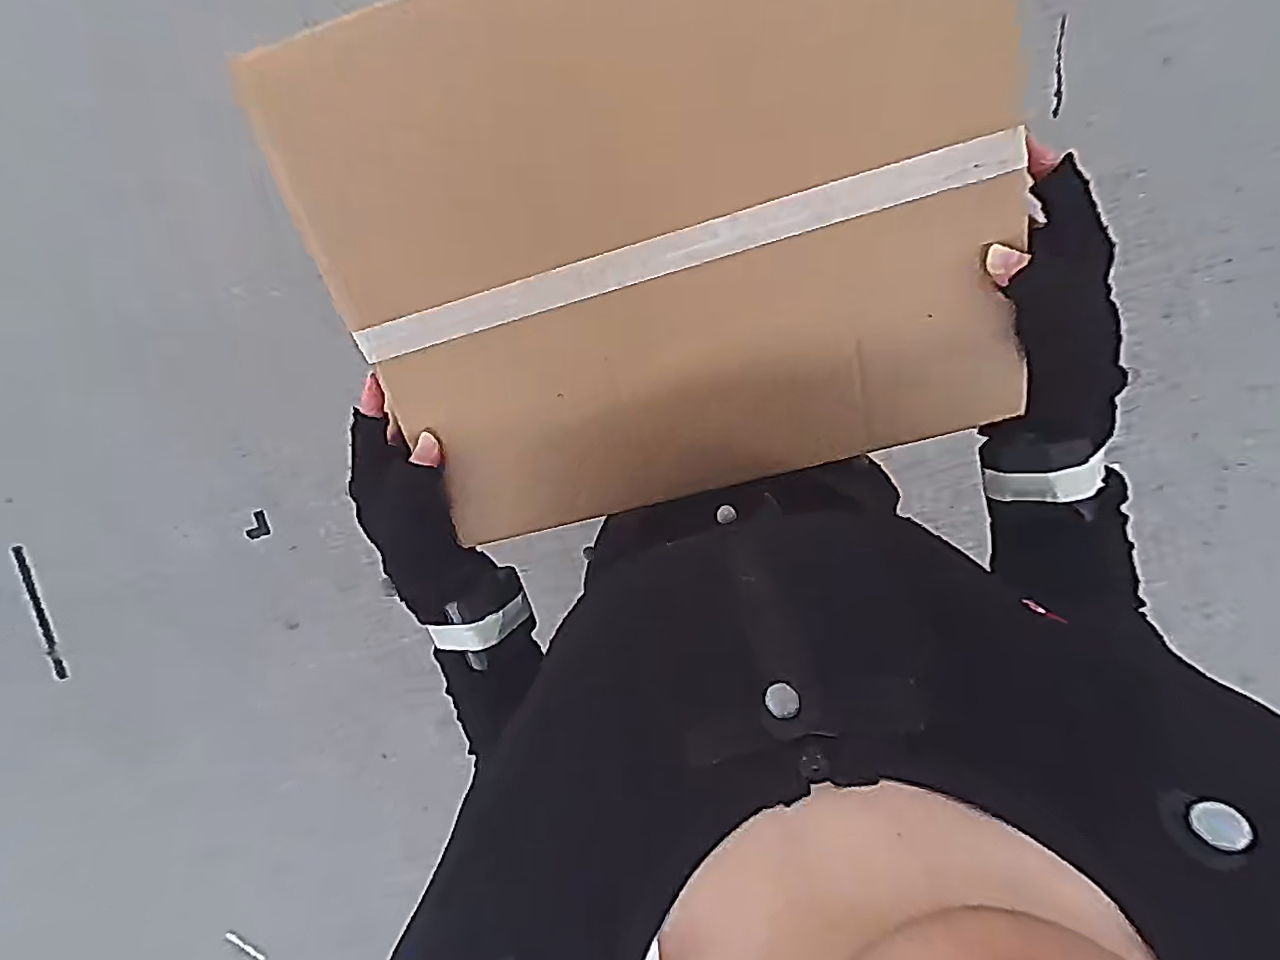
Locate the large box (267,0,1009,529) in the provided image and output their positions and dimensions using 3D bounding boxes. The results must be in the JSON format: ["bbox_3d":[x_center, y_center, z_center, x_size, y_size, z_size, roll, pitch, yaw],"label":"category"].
[{"bbox_3d":[0.019,-0.202,0.470,0.408,0.320,0.320,-14,113,8],"label":"large box"}]
